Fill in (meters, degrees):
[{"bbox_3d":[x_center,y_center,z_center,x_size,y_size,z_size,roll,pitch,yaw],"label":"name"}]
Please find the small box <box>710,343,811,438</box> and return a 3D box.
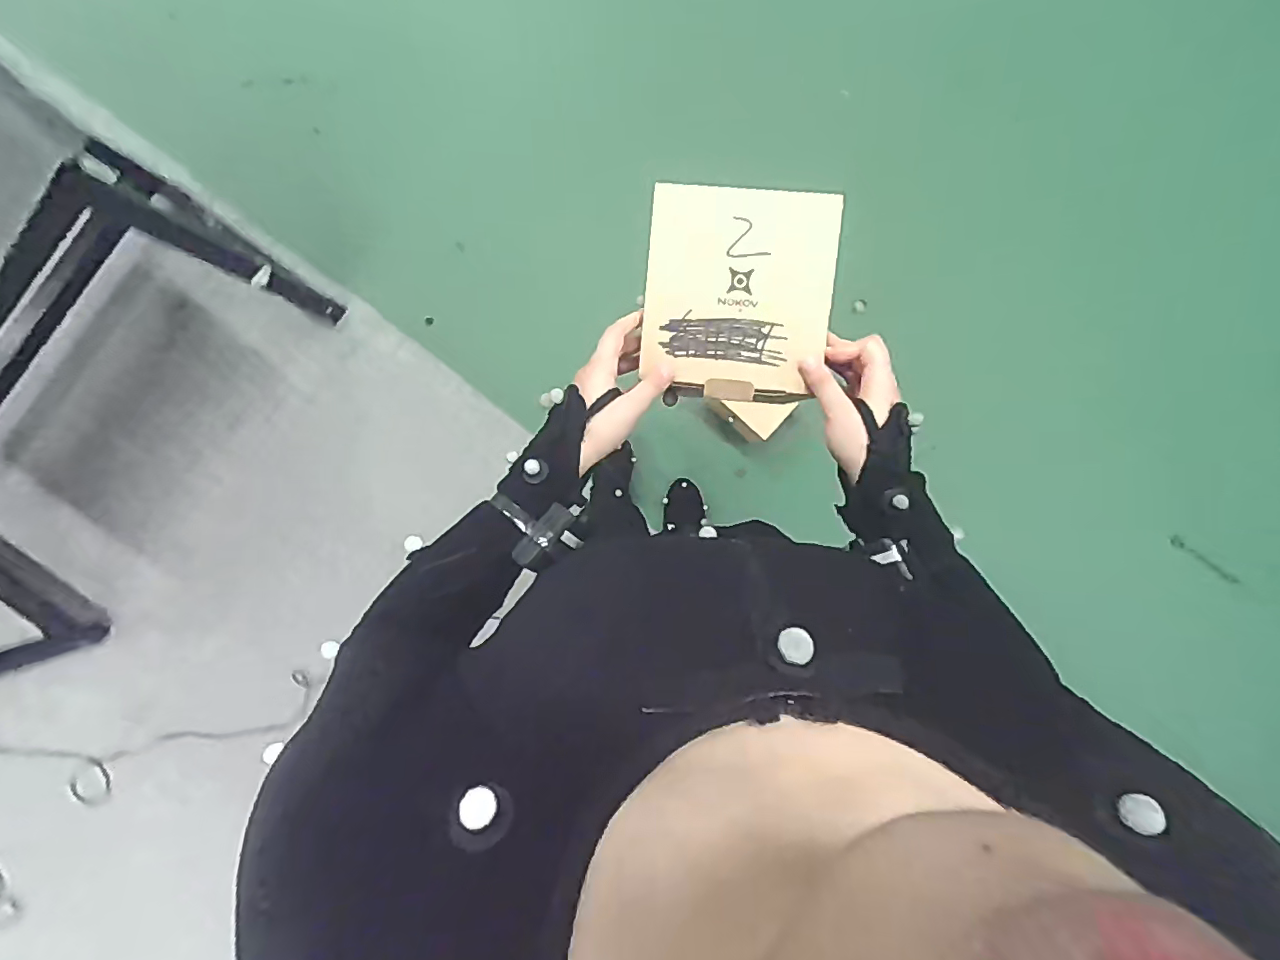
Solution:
[{"bbox_3d":[0.302,-0.223,1.393,0.179,0.176,0.168,42,92,-1],"label":"small box"}]
